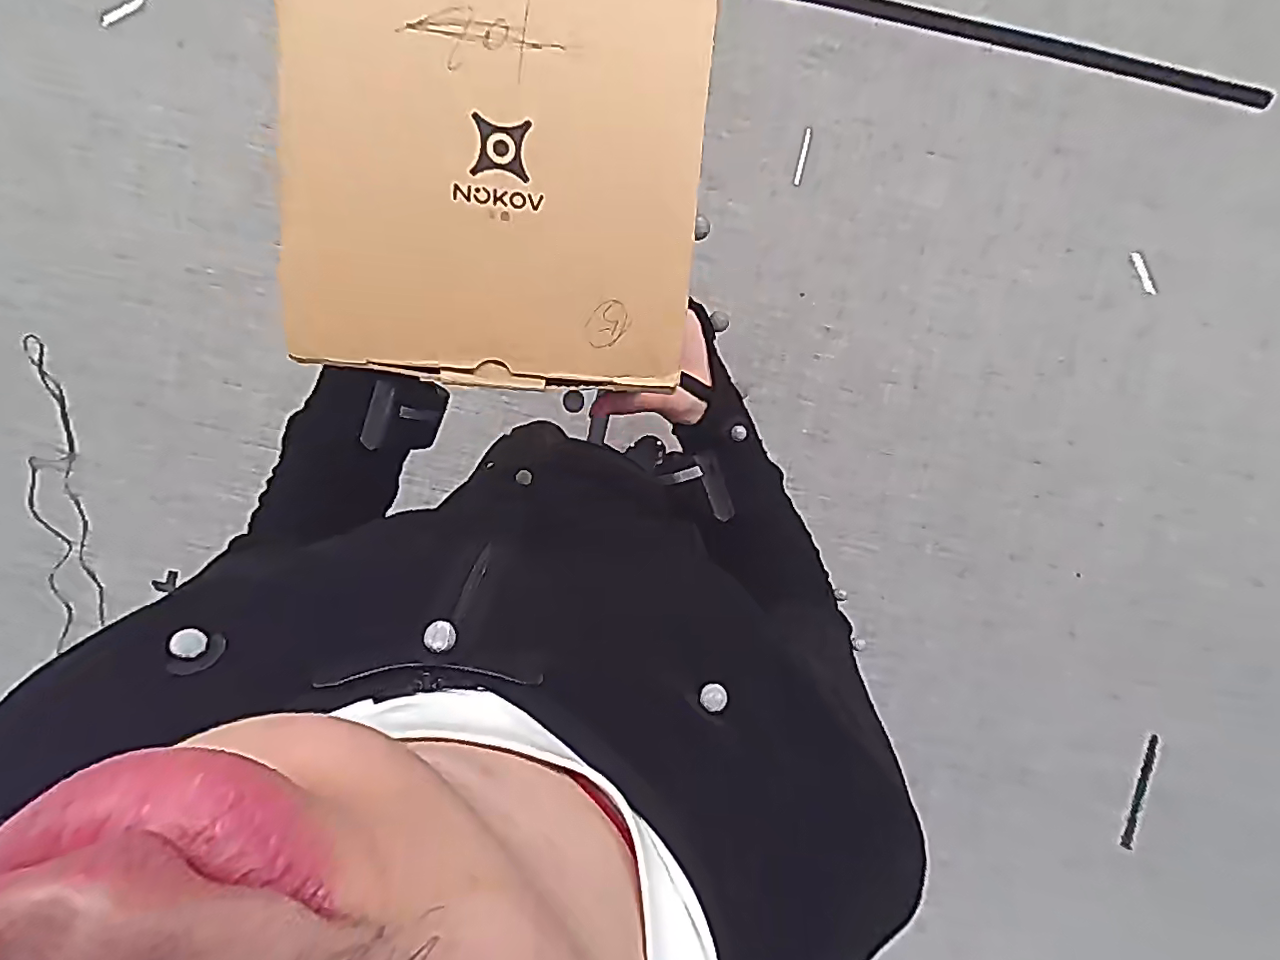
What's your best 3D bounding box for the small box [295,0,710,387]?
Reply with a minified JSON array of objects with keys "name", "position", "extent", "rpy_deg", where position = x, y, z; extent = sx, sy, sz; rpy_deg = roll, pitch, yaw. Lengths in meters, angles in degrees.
[{"name":"small box","position":[-0.068,-0.149,0.309],"extent":[0.168,0.176,0.179],"rpy_deg":[3,99,-9]}]
